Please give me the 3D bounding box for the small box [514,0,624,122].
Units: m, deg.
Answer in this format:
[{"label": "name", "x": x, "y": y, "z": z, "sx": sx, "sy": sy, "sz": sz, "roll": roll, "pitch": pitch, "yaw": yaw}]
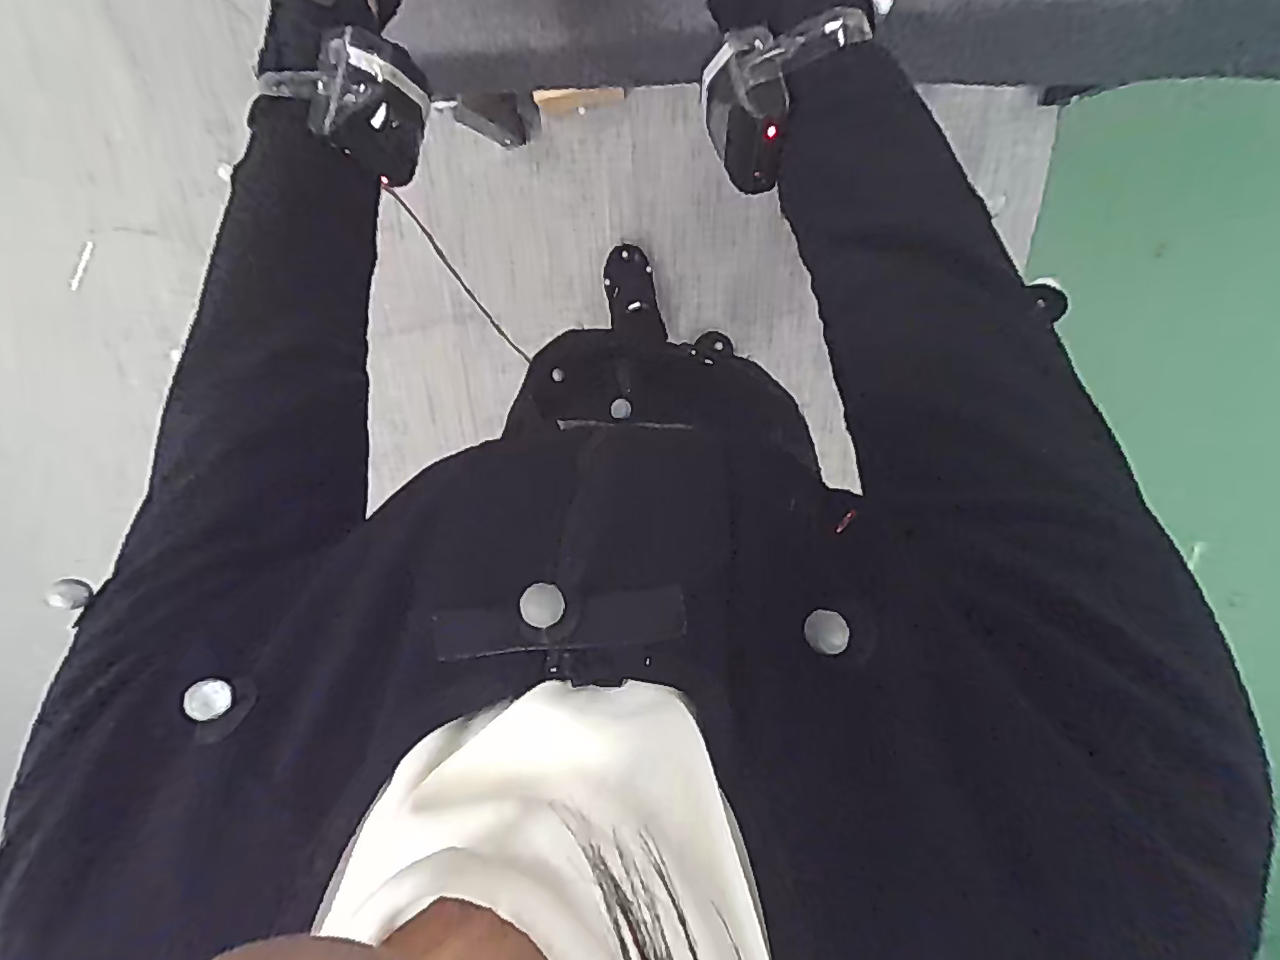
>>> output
[{"label": "small box", "x": -0.128, "y": -0.819, "z": 1.037, "sx": 0.168, "sy": 0.176, "sz": 0.179, "roll": -9, "pitch": 114, "yaw": 6}]
